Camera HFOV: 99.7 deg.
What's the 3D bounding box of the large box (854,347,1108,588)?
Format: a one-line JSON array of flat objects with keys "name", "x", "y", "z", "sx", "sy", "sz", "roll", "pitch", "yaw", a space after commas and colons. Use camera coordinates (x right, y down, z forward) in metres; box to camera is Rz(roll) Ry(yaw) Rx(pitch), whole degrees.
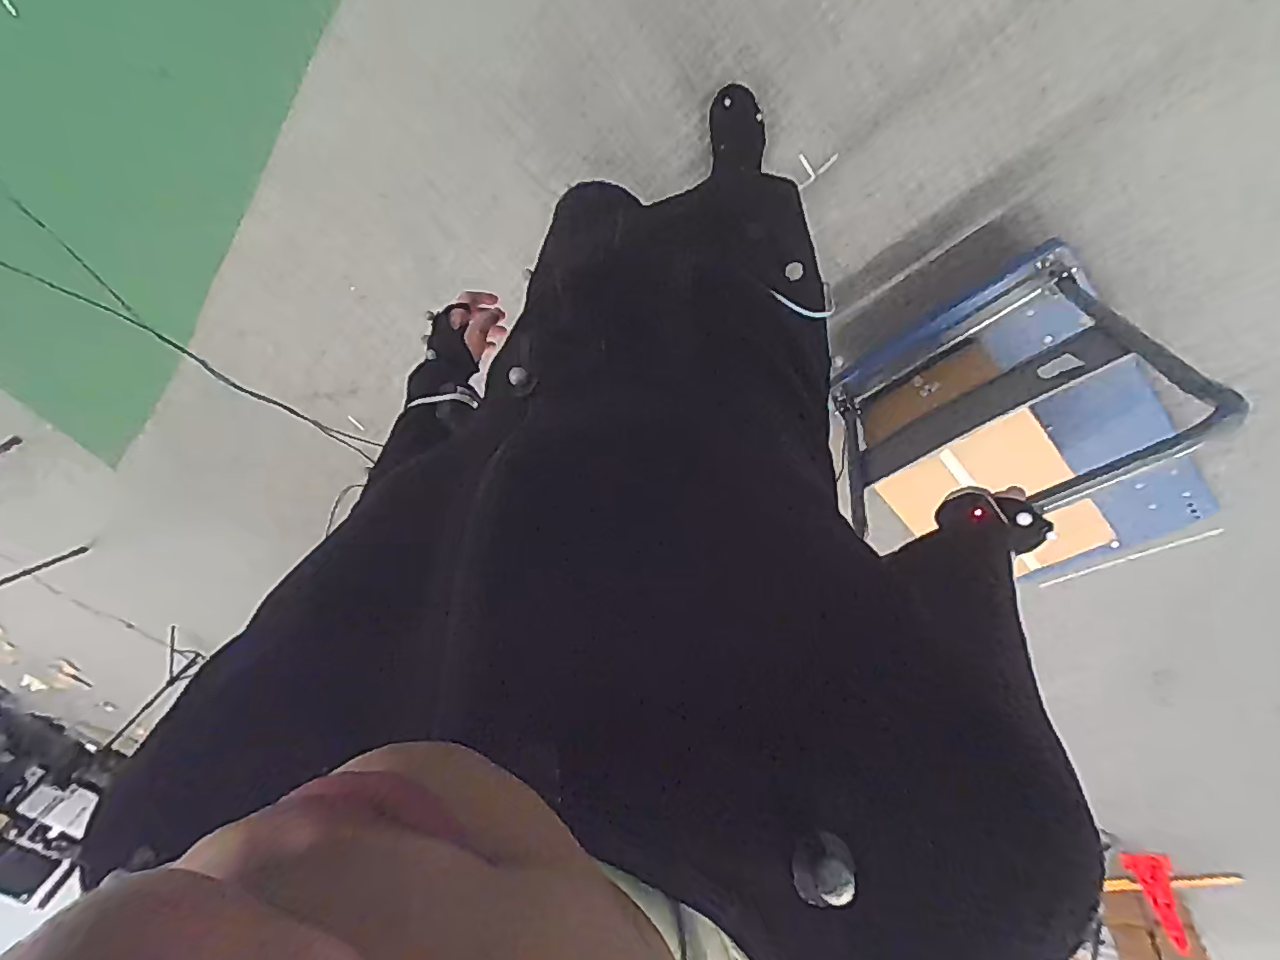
[{"name": "large box", "x": 0.765, "y": -0.028, "z": 1.266, "sx": 0.408, "sy": 0.320, "sz": 0.320, "roll": 43, "pitch": 125, "yaw": -18}]
